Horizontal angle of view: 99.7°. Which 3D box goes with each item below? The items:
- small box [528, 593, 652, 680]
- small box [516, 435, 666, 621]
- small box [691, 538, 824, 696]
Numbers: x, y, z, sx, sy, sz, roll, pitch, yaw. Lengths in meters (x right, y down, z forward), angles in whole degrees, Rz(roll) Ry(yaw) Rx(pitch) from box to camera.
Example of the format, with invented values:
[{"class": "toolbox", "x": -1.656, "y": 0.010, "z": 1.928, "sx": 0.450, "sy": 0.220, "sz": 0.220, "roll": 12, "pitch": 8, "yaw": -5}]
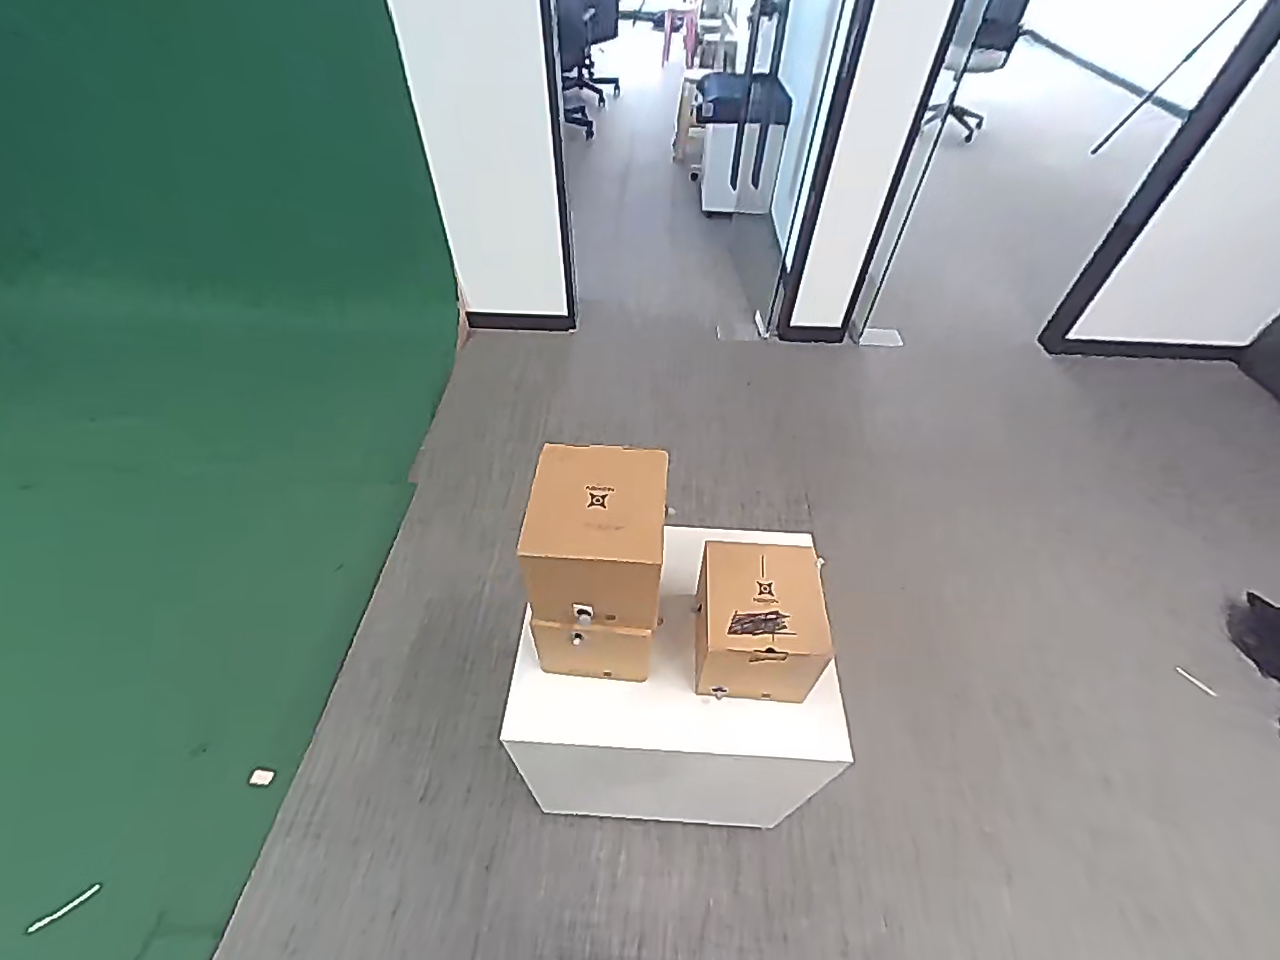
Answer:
[{"class": "small box", "x": -0.065, "y": 0.186, "z": 0.839, "sx": 0.168, "sy": 0.176, "sz": 0.179, "roll": 4, "pitch": 48, "yaw": 3}, {"class": "small box", "x": -0.055, "y": 0.063, "z": 0.710, "sx": 0.168, "sy": 0.176, "sz": 0.179, "roll": 3, "pitch": 50, "yaw": 1}, {"class": "small box", "x": 0.167, "y": 0.211, "z": 0.823, "sx": 0.168, "sy": 0.176, "sz": 0.179, "roll": 4, "pitch": 48, "yaw": 2}]
